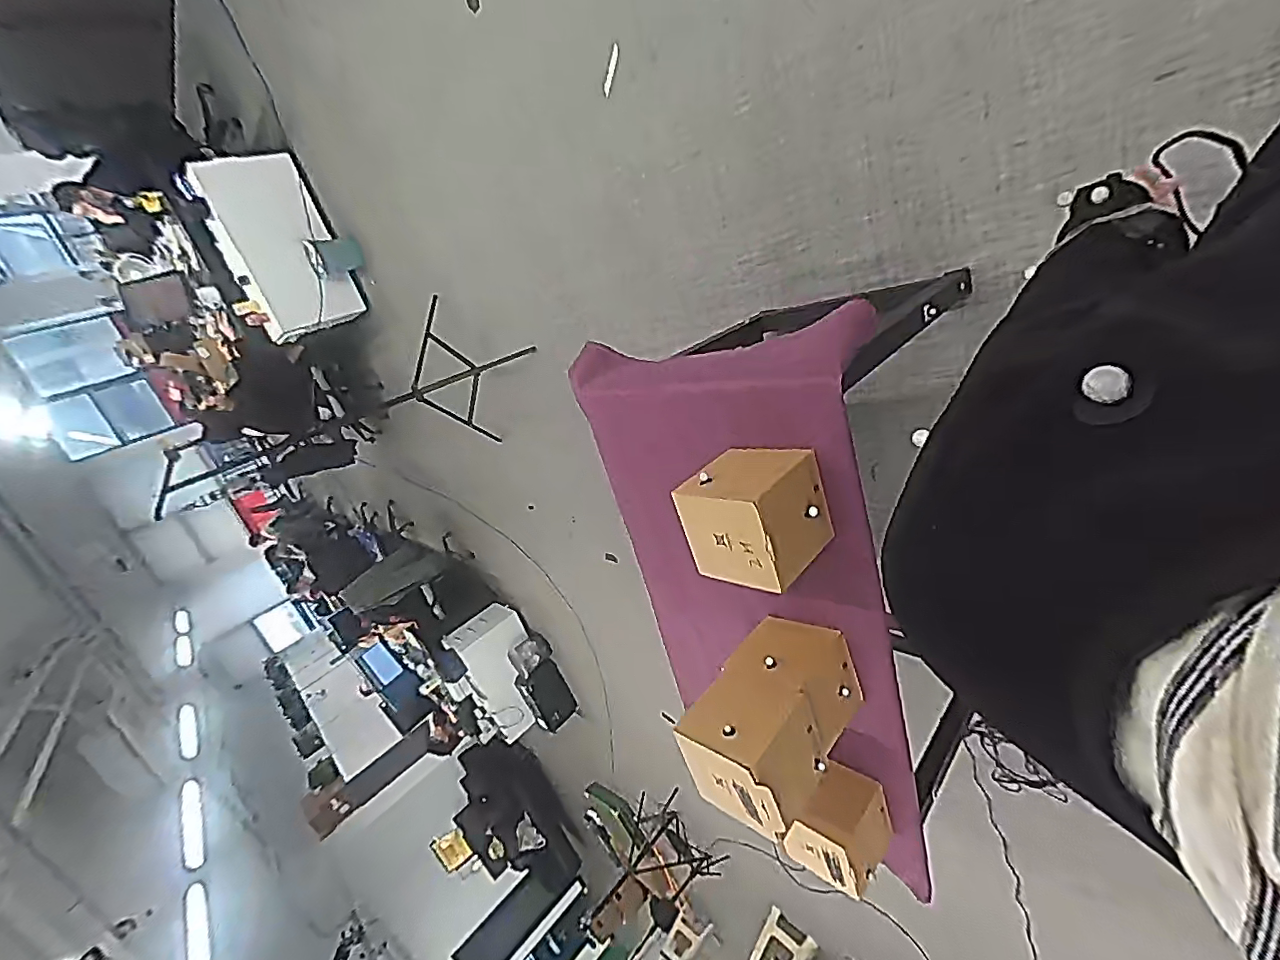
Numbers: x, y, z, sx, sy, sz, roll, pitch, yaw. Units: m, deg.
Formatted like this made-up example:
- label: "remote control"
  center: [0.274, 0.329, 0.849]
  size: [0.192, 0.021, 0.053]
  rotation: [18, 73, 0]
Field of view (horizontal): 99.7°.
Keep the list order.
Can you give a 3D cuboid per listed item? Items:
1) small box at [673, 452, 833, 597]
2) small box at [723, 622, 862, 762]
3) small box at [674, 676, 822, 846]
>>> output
- label: "small box"
  center: [0.190, 0.063, 0.896]
  size: [0.179, 0.176, 0.168]
  rotation: [4, 122, 49]
- label: "small box"
  center: [0.297, 0.398, 1.046]
  size: [0.179, 0.176, 0.168]
  rotation: [-2, 116, 50]
- label: "small box"
  center: [0.195, 0.471, 0.938]
  size: [0.179, 0.176, 0.168]
  rotation: [0, 118, 50]
